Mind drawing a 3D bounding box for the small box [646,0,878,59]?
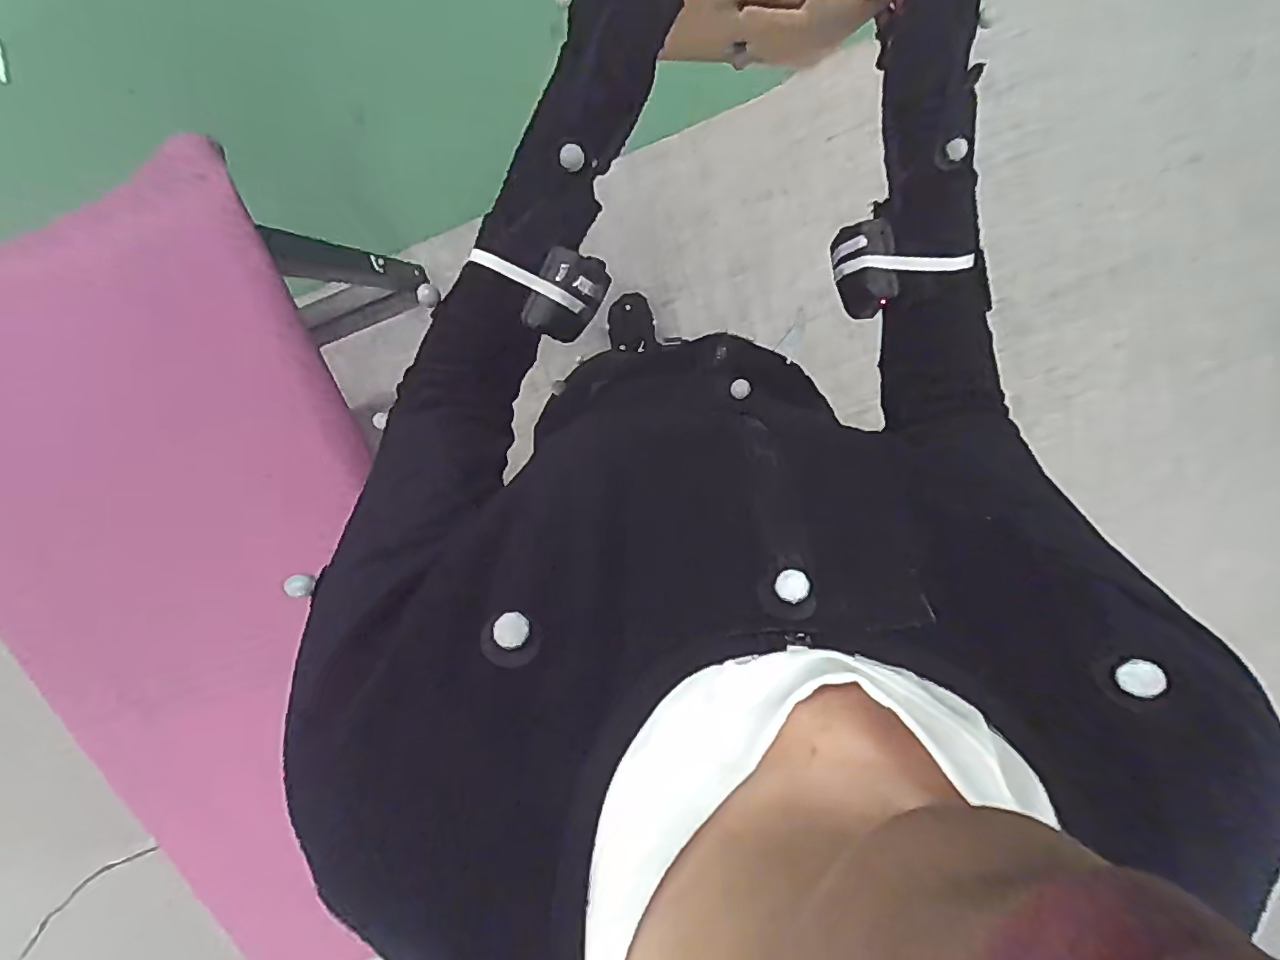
[{"bbox_3d":[0.090,-0.443,0.396,0.168,0.176,0.179,1,115,-1],"label":"small box"}]
